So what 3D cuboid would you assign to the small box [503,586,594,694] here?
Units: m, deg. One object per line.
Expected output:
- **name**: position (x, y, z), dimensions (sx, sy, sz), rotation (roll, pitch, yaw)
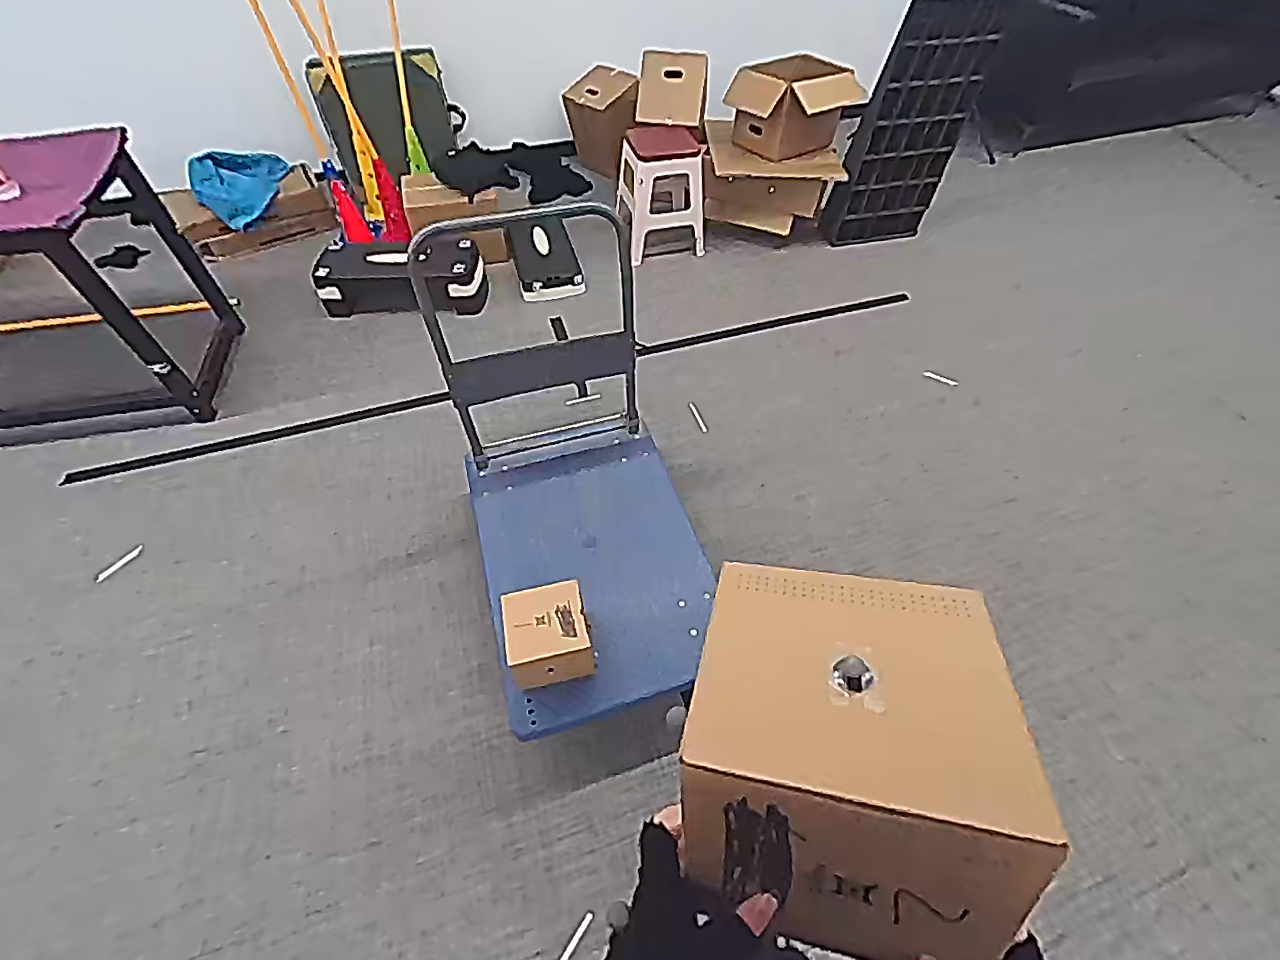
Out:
- **small box**: position (-0.203, 0.366, 1.228), dimensions (0.179, 0.176, 0.168), rotation (-11, 53, -8)
